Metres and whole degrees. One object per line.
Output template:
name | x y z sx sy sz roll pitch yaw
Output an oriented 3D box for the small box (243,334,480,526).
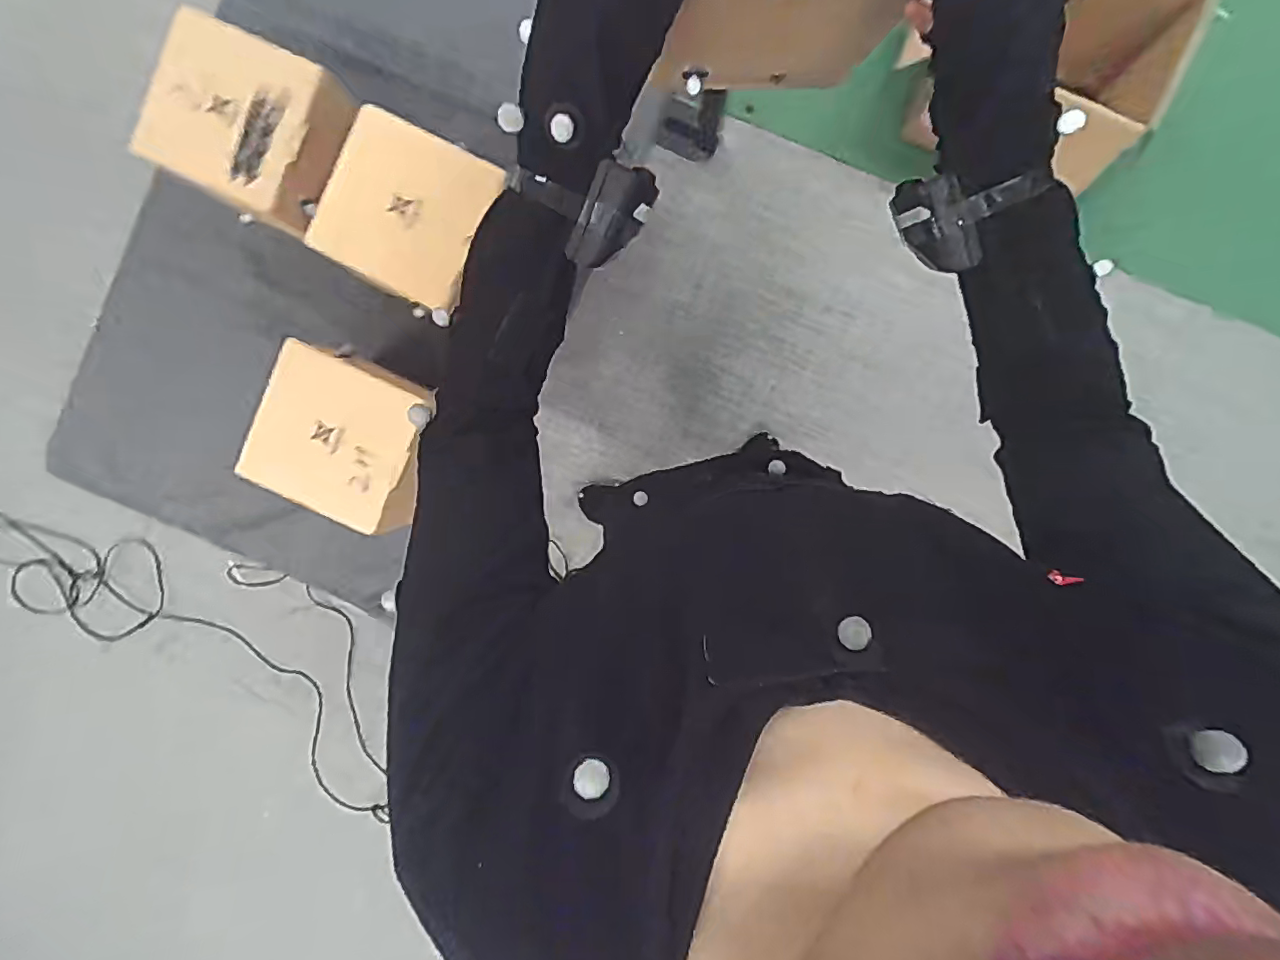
small box | -0.334 -0.059 0.683 0.179 0.176 0.168 25 95 1
